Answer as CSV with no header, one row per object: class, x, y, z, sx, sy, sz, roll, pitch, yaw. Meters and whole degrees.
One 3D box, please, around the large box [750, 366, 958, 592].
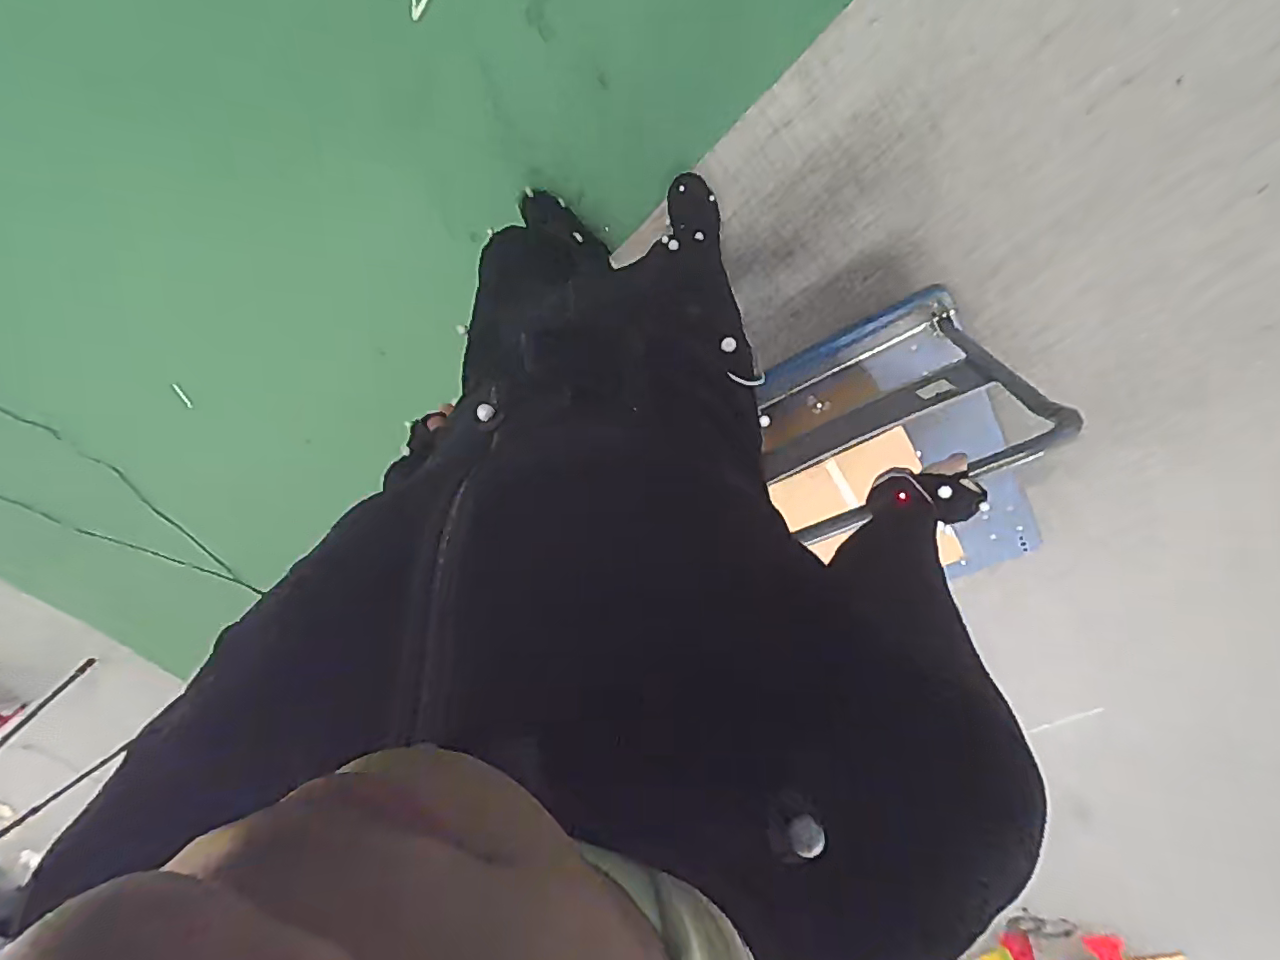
large box,0.514,-0.003,1.350,0.320,0.320,0.408,-27,116,23
